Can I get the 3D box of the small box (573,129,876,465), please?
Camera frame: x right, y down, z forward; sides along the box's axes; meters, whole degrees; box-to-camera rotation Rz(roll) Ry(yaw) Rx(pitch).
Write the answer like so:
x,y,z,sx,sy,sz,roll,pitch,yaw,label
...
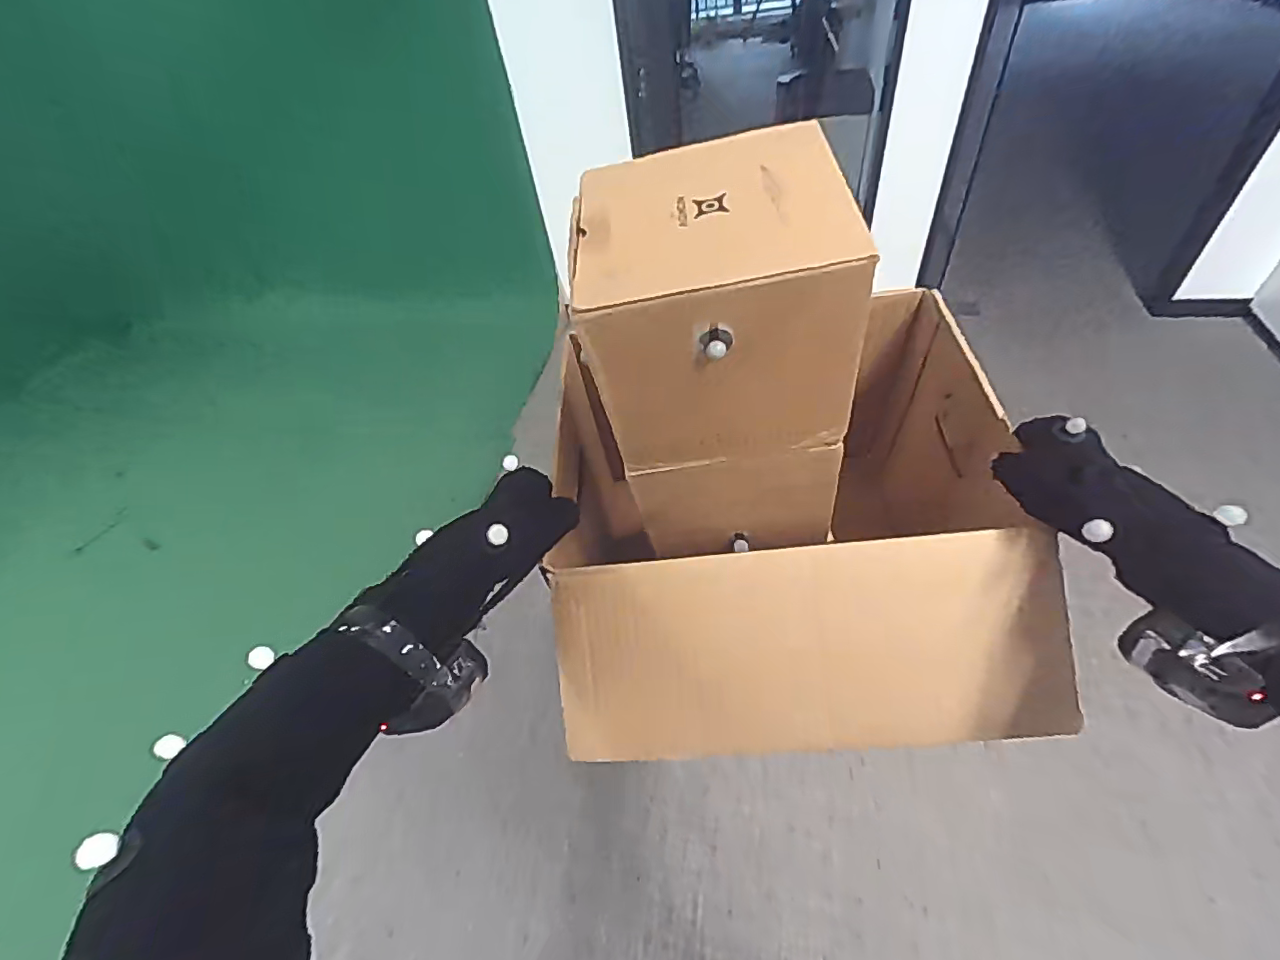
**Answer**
x,y,z,sx,sy,sz,roll,pitch,yaw,label
0.058,-0.127,0.415,0.179,0.176,0.168,-8,56,7,small box
